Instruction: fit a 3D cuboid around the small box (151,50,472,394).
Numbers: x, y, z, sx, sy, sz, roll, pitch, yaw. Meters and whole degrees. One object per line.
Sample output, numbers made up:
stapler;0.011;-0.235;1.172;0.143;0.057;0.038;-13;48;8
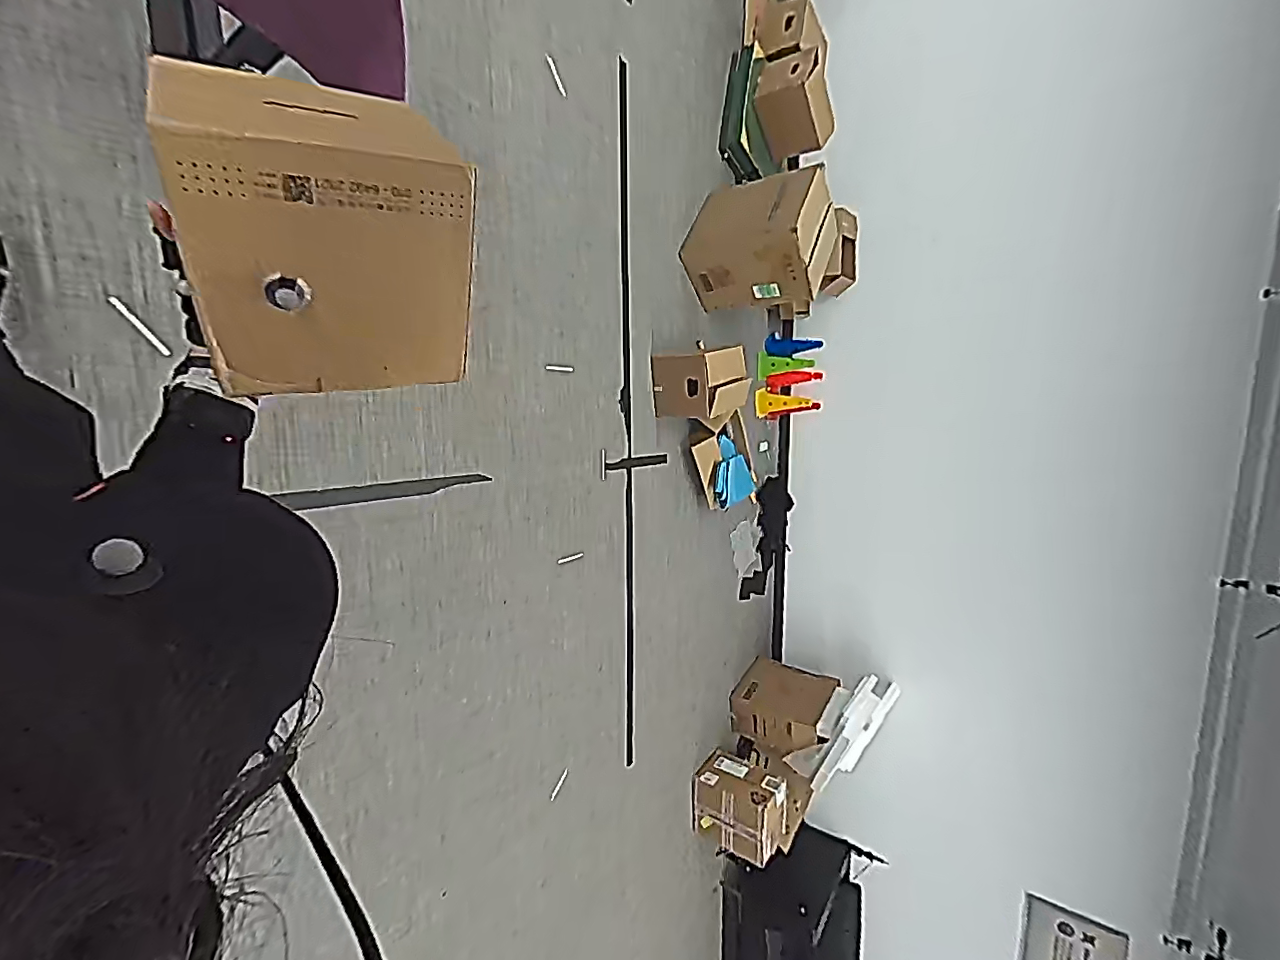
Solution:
small box;-0.232;-0.185;0.398;0.168;0.179;0.176;-10;137;-34
